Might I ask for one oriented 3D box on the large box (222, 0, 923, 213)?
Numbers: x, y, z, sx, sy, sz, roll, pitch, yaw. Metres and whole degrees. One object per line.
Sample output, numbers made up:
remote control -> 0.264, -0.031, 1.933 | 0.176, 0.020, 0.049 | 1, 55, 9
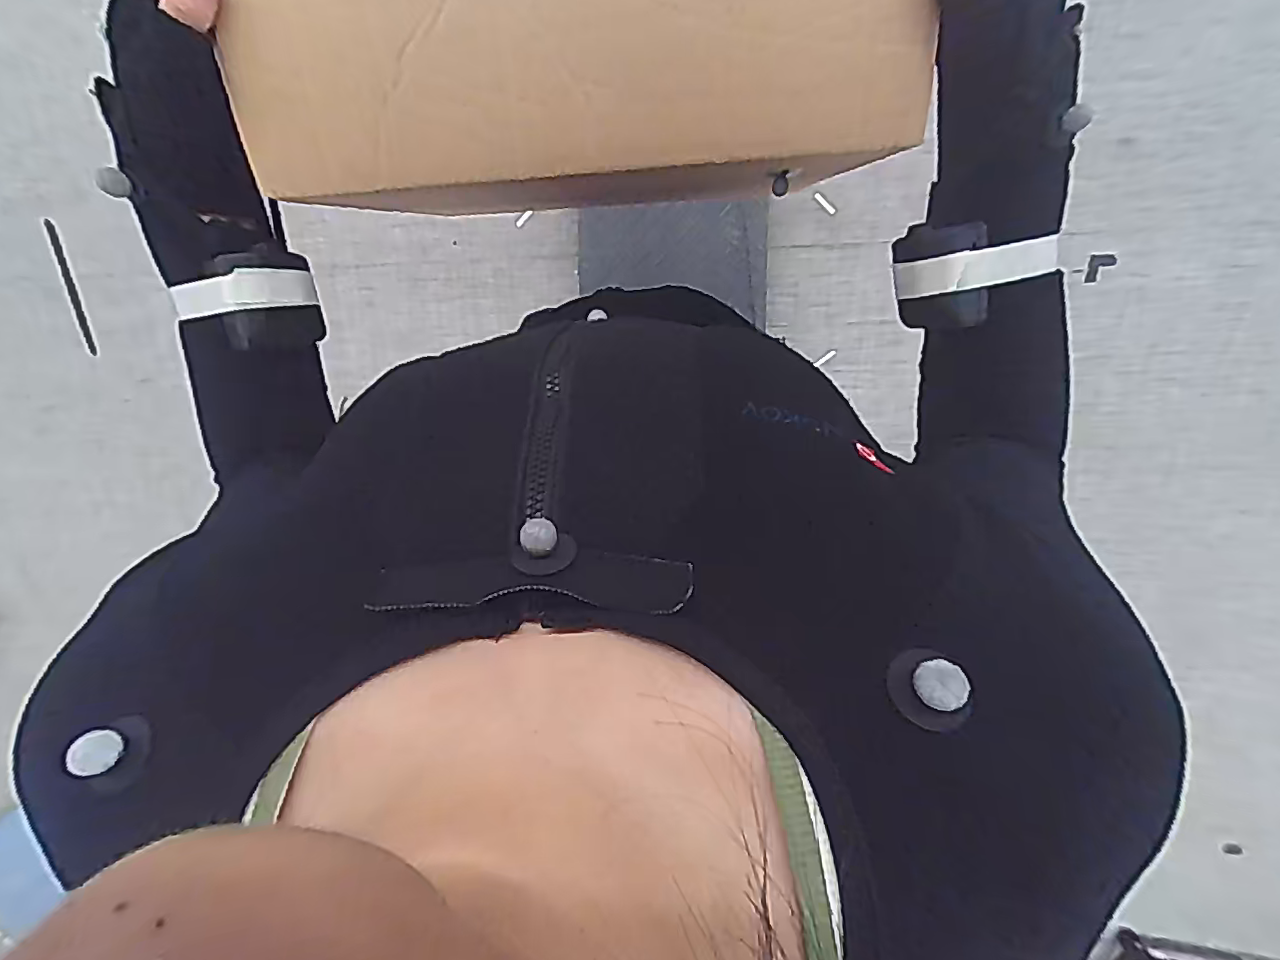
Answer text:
large box -> -0.039, -0.394, 0.415 | 0.408, 0.320, 0.320 | -3, 114, 4
